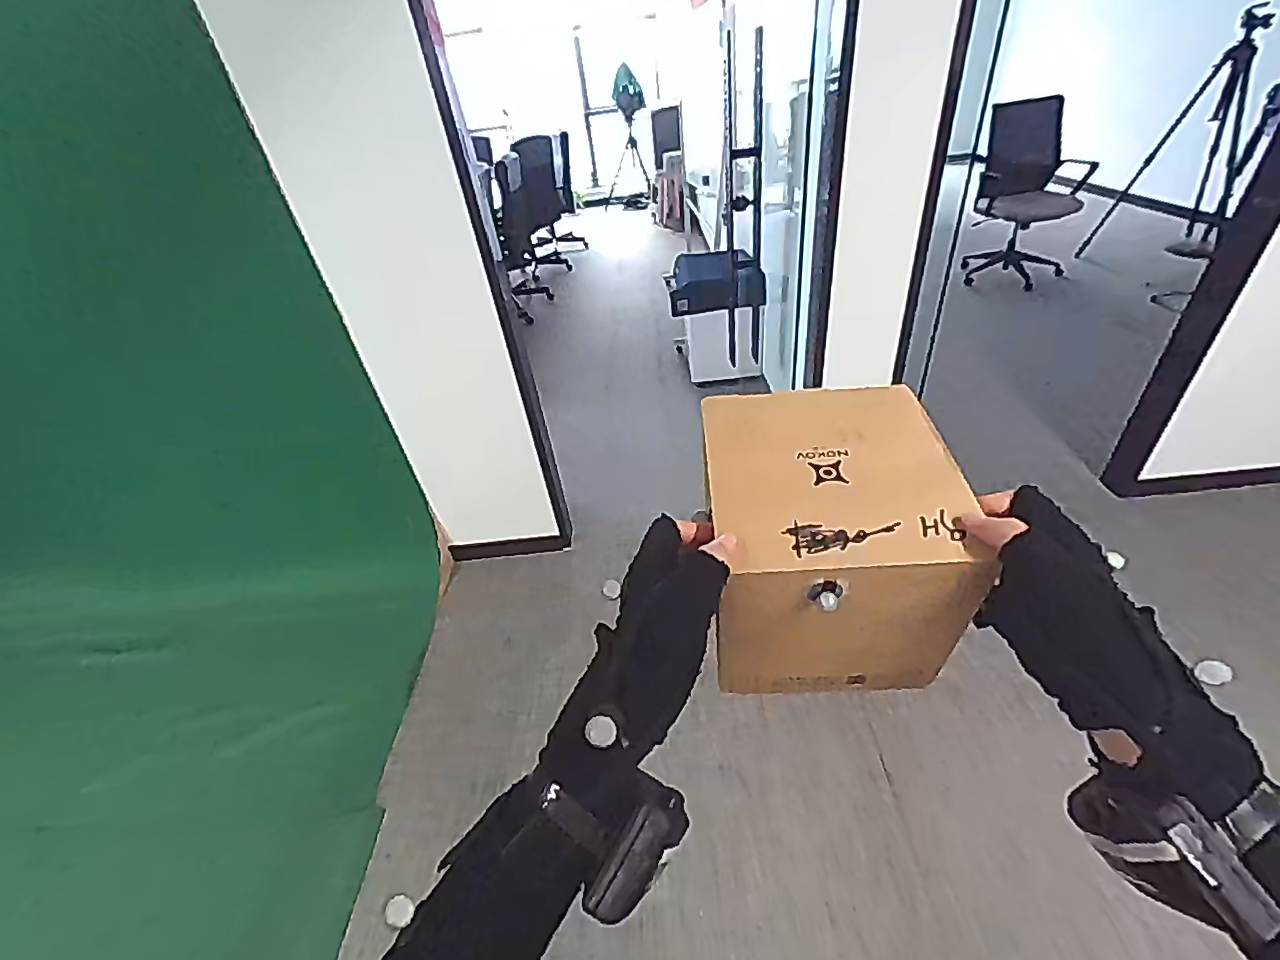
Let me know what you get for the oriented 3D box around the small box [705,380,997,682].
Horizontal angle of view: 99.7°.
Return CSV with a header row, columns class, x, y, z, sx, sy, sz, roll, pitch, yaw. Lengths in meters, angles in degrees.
class,x,y,z,sx,sy,sz,roll,pitch,yaw
small box,0.138,0.041,0.436,0.168,0.176,0.179,-4,44,6
